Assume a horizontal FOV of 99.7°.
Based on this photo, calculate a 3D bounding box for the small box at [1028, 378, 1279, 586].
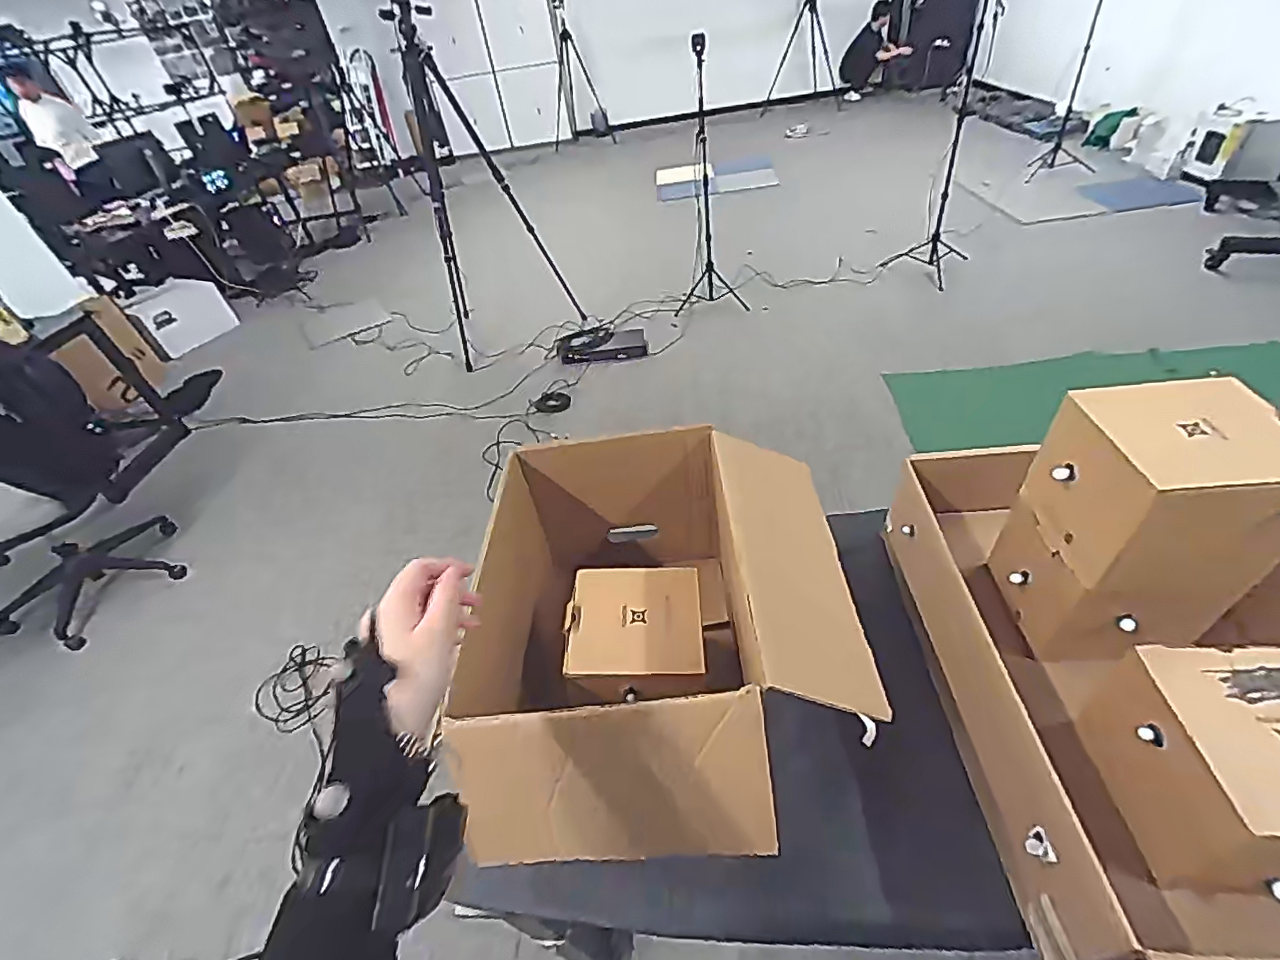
[{"bbox_3d":[0.580,0.006,0.612,0.179,0.176,0.168,-5,44,6],"label":"small box"}]
